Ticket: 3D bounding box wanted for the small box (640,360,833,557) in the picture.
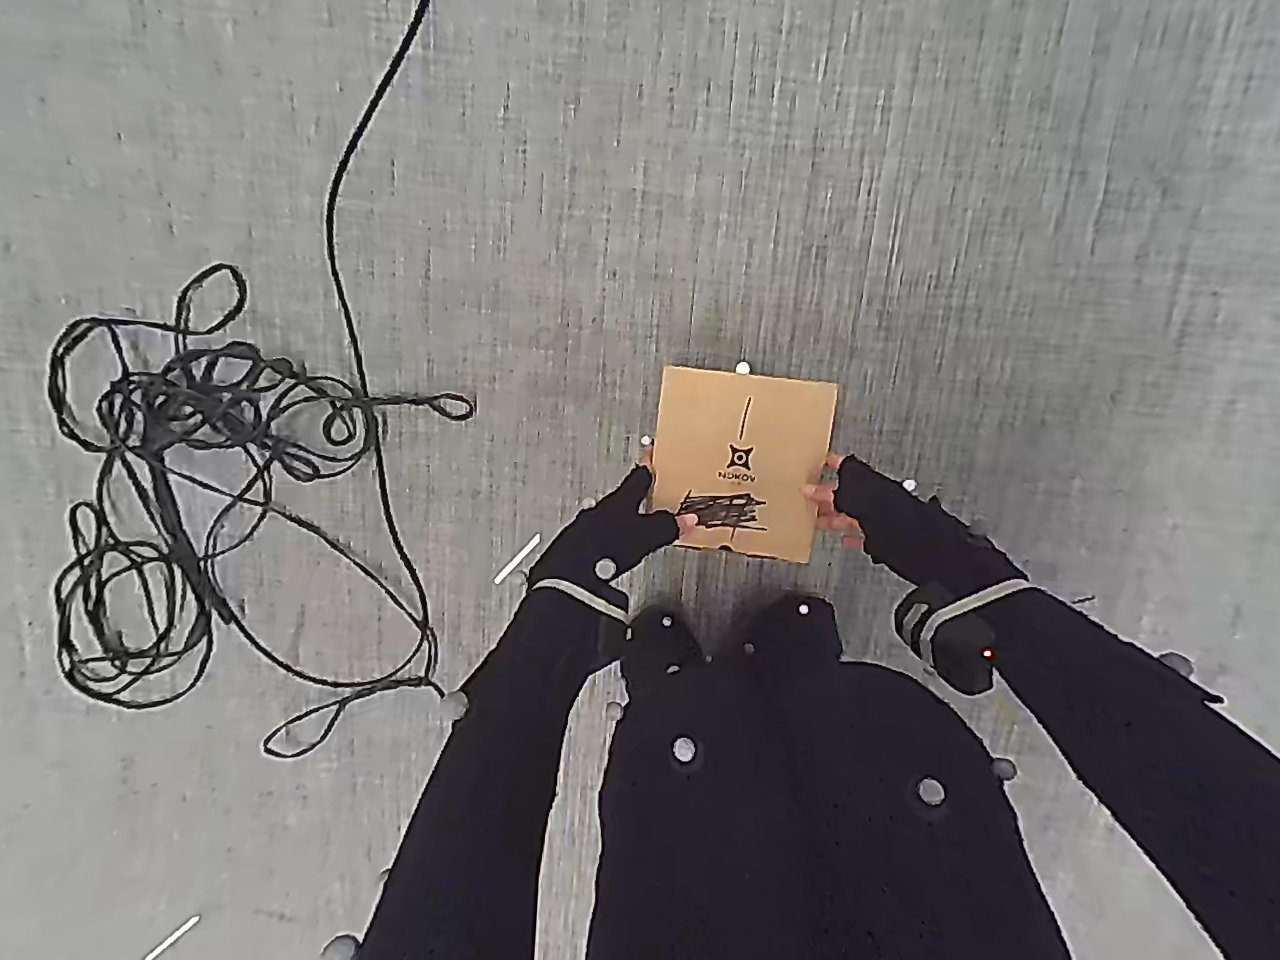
[{"bbox_3d":[0.096,-0.031,0.600,0.168,0.176,0.179,7,99,2],"label":"small box"}]
